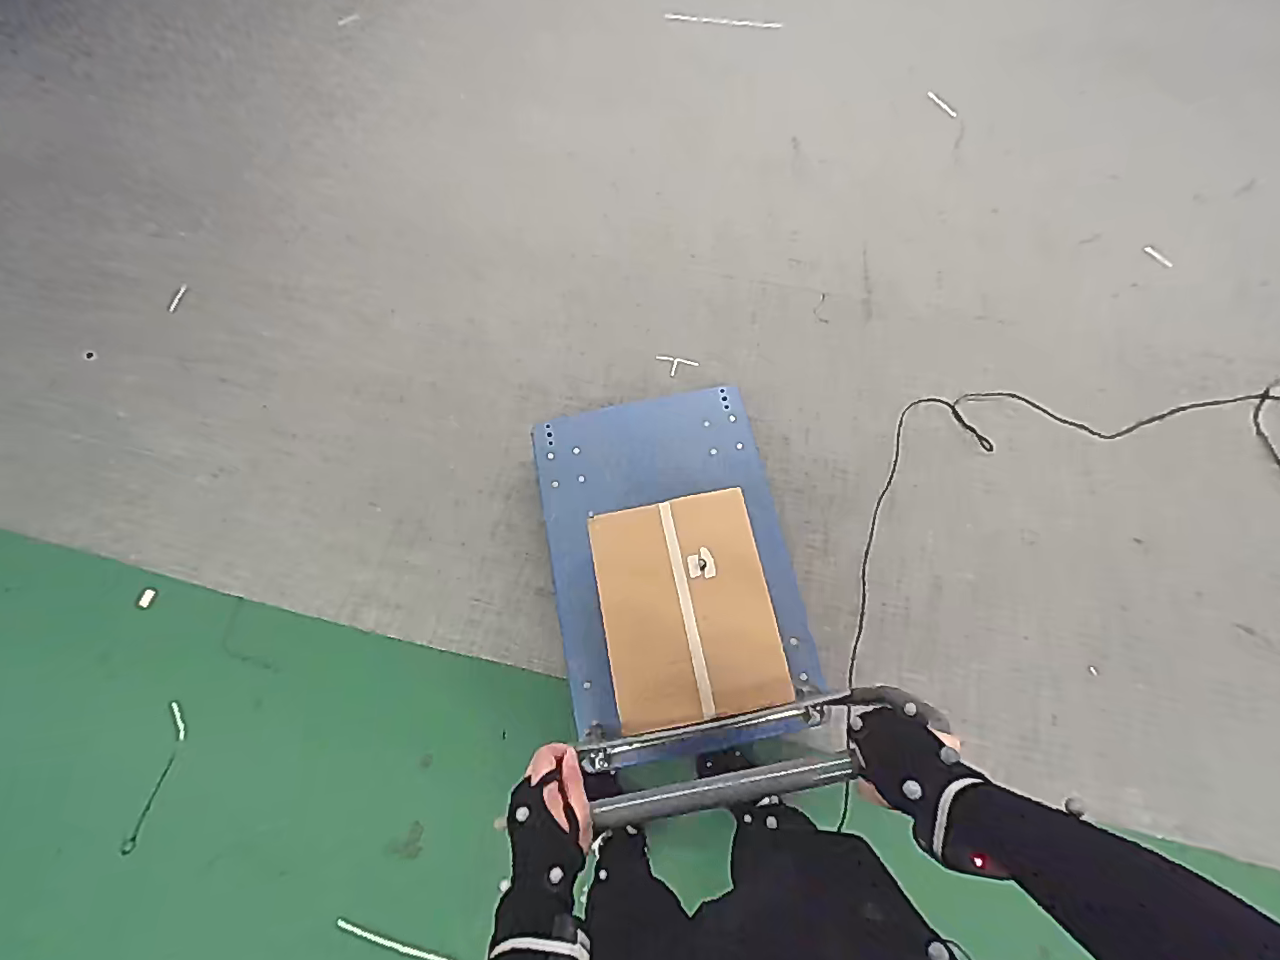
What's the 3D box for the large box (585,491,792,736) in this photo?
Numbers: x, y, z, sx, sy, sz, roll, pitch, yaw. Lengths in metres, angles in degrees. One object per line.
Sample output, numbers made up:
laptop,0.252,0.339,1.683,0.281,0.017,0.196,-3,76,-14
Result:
large box,0.090,0.282,1.145,0.320,0.320,0.408,-11,71,-1
